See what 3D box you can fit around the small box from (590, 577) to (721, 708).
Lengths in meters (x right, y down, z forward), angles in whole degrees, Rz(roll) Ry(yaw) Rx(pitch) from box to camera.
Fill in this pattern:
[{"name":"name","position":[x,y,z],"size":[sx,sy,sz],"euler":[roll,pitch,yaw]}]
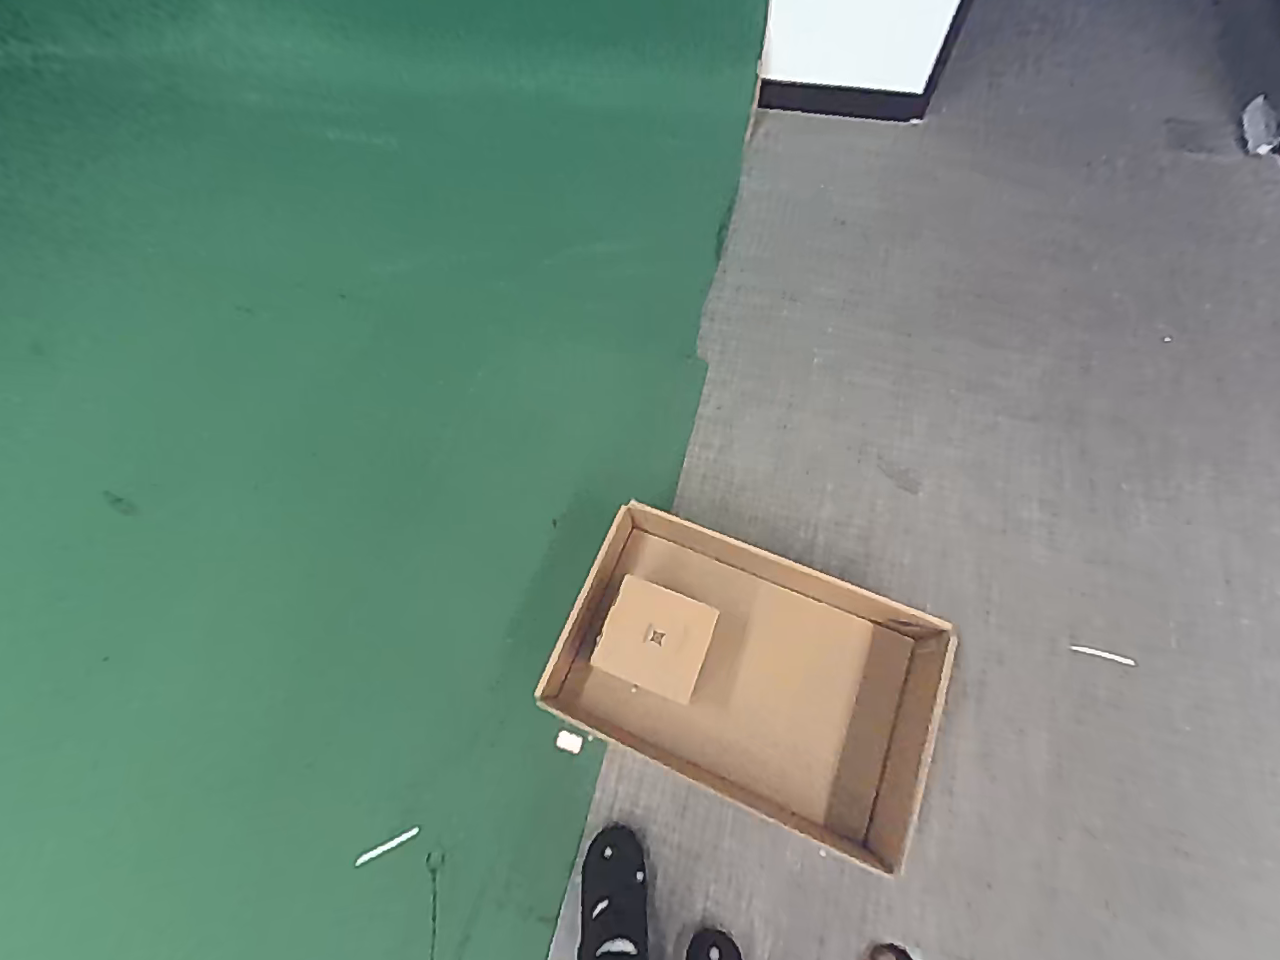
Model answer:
[{"name":"small box","position":[0.031,0.297,0.976],"size":[0.179,0.176,0.168],"euler":[20,72,11]}]
